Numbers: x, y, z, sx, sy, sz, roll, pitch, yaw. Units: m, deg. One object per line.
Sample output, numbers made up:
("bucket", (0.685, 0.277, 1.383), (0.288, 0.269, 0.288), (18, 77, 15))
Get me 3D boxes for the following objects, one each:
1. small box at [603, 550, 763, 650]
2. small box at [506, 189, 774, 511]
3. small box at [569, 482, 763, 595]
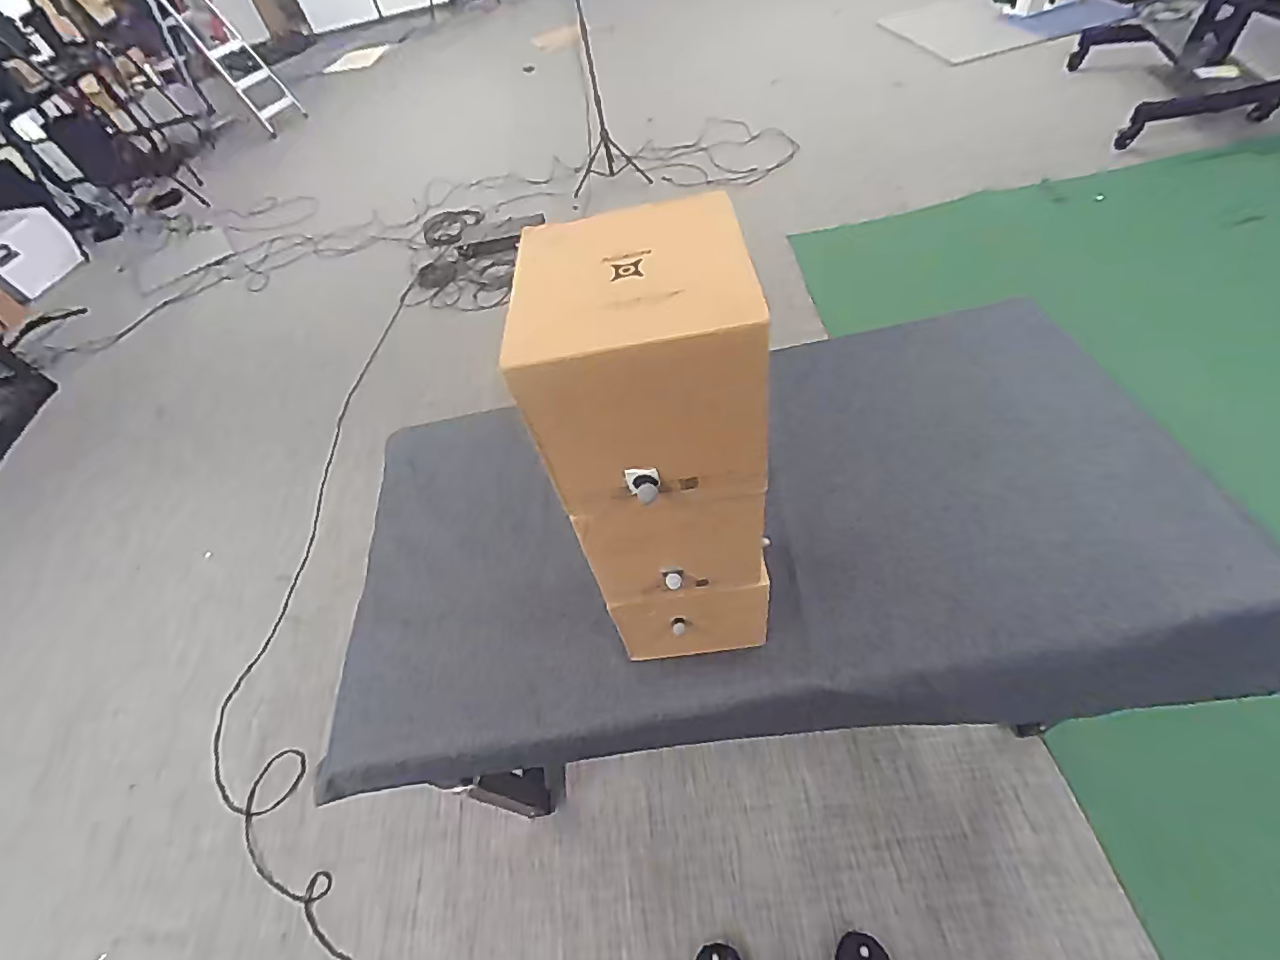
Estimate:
("small box", (0.056, 0.104, 0.687), (0.179, 0.176, 0.168), (-8, 51, 5))
("small box", (0.007, -0.098, 0.436), (0.168, 0.176, 0.179), (-8, 52, 6))
("small box", (0.028, -0.001, 0.564), (0.168, 0.176, 0.179), (-8, 52, 5))
